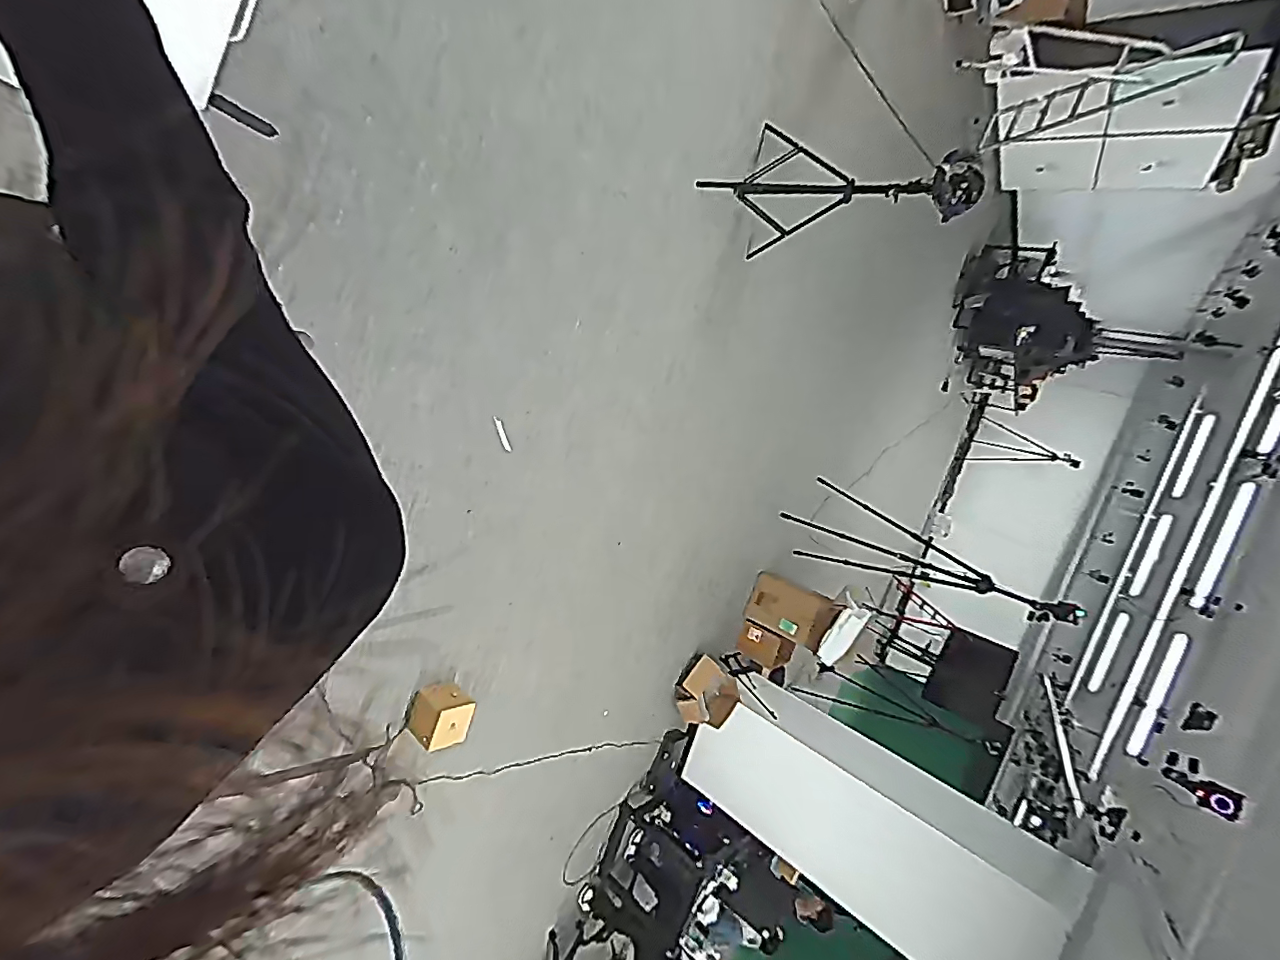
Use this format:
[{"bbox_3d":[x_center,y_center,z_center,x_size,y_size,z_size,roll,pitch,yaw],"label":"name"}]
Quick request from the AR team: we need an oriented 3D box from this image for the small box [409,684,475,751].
[{"bbox_3d":[-0.796,0.937,2.162,0.168,0.176,0.179,13,99,-54],"label":"small box"}]
